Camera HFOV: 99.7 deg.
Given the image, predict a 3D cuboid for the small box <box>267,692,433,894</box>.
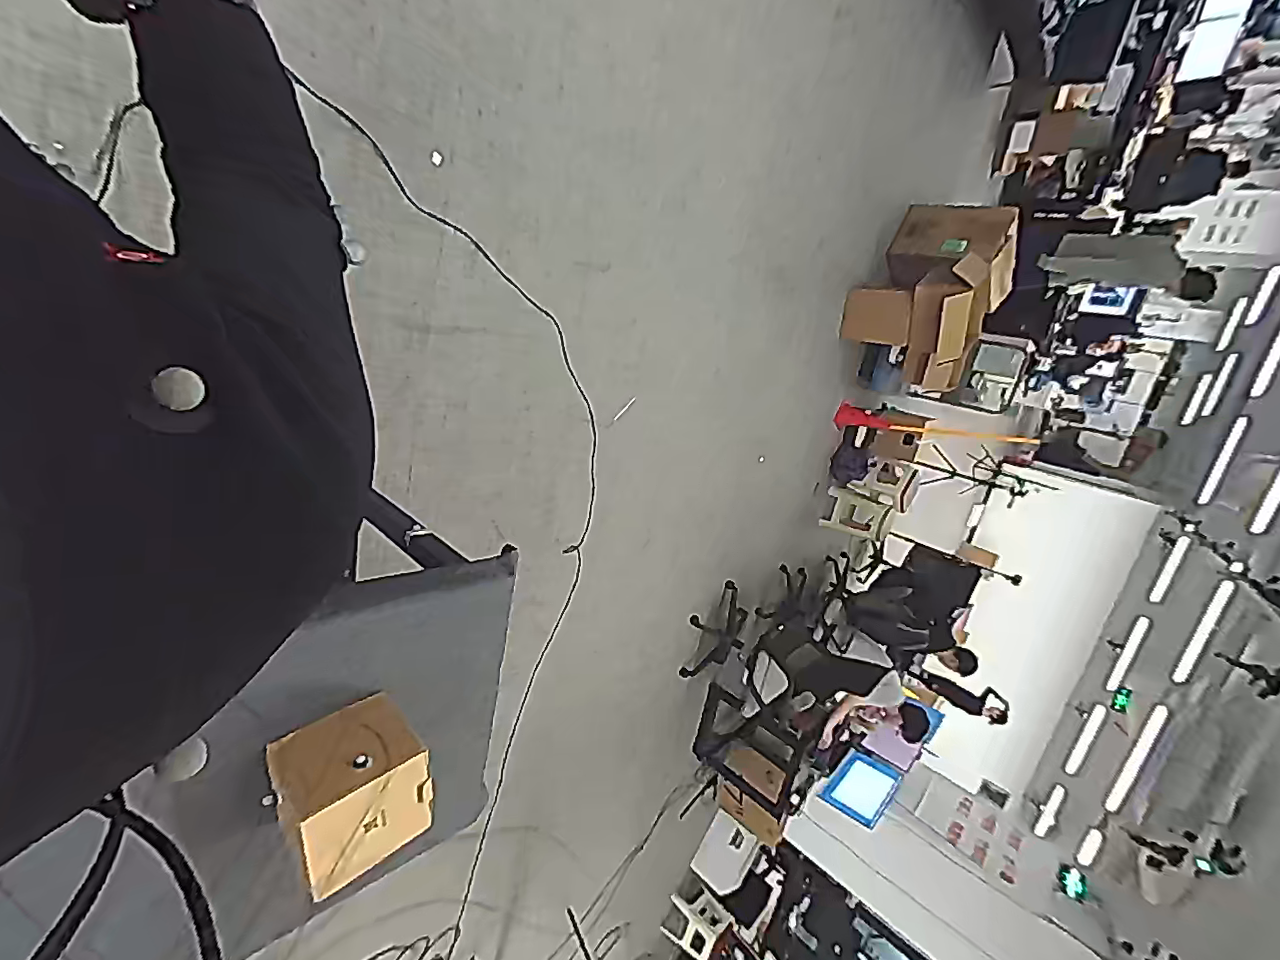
[{"bbox_3d":[-0.449,0.470,0.845,0.179,0.176,0.168,-17,120,-44],"label":"small box"}]
